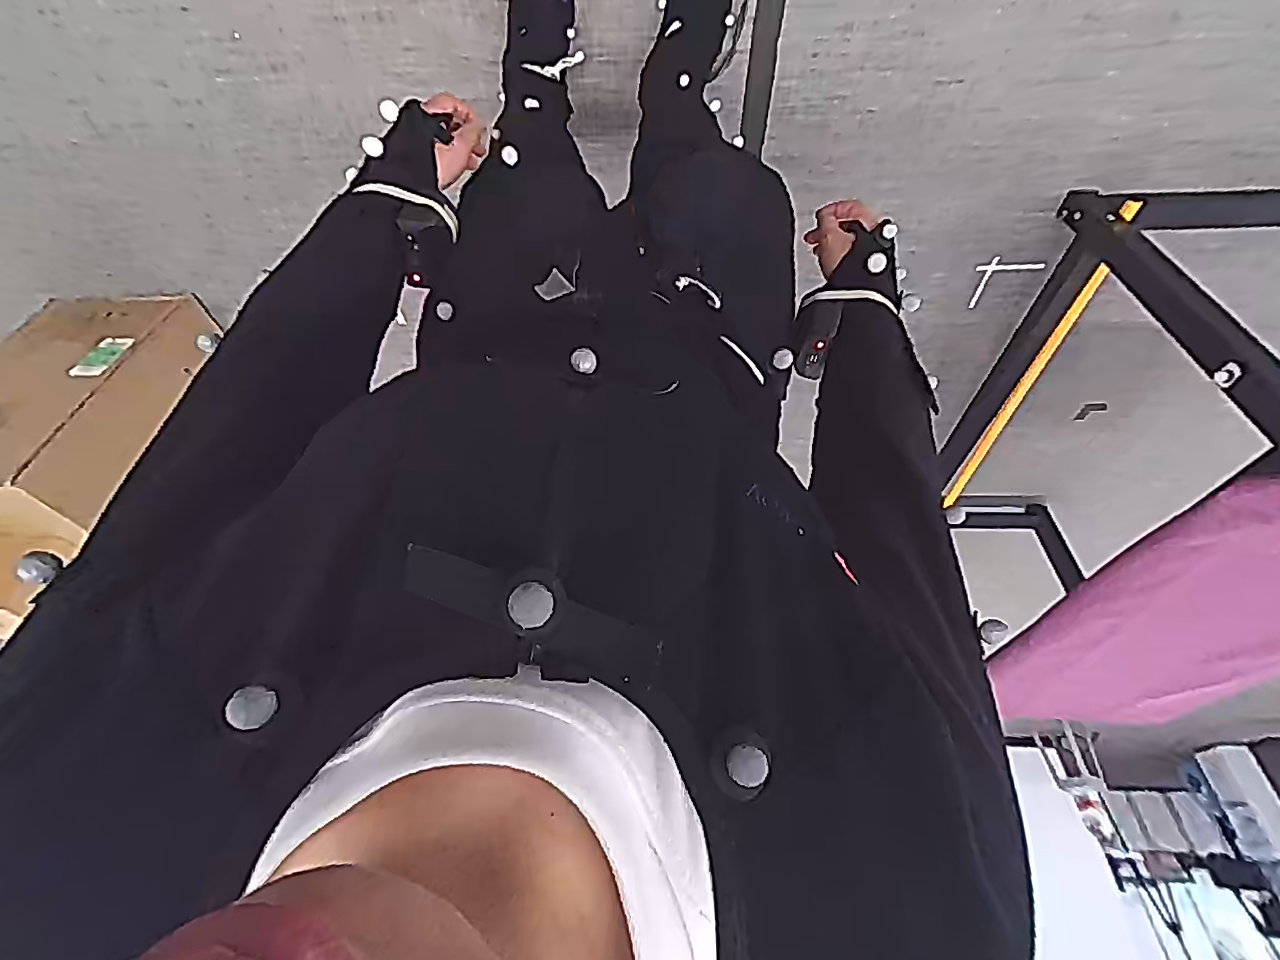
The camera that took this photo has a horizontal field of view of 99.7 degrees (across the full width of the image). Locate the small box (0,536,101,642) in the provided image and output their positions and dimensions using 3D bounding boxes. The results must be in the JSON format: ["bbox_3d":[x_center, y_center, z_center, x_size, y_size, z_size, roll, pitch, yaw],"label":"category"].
[{"bbox_3d":[-1.300,0.227,1.131,0.179,0.176,0.168,1,142,2],"label":"small box"}]
